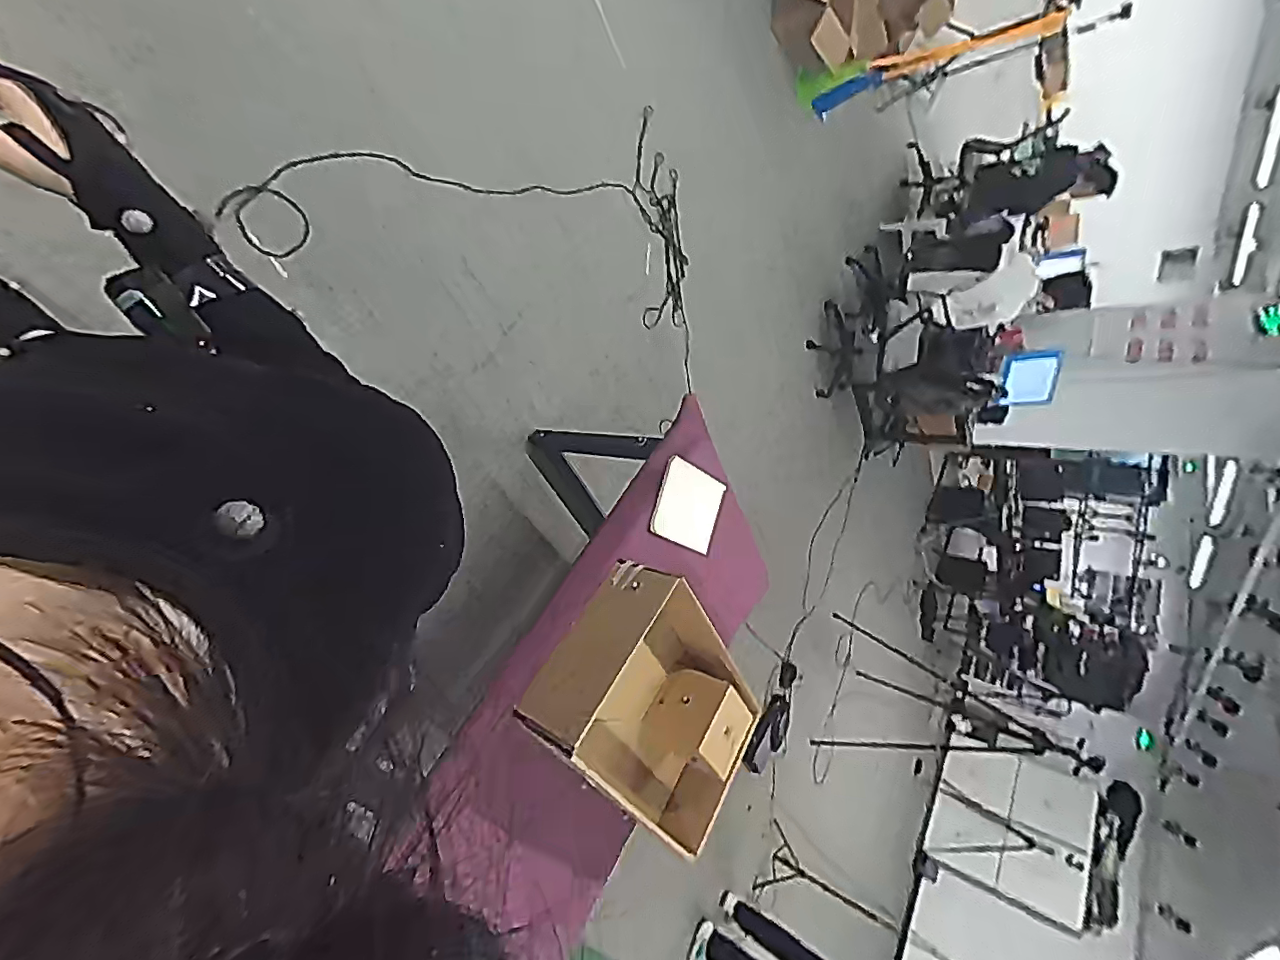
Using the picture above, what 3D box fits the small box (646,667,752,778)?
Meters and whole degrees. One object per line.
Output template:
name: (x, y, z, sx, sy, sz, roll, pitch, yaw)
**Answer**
small box: (0.142, 0.578, 1.312, 0.168, 0.176, 0.179, -53, 130, -29)
